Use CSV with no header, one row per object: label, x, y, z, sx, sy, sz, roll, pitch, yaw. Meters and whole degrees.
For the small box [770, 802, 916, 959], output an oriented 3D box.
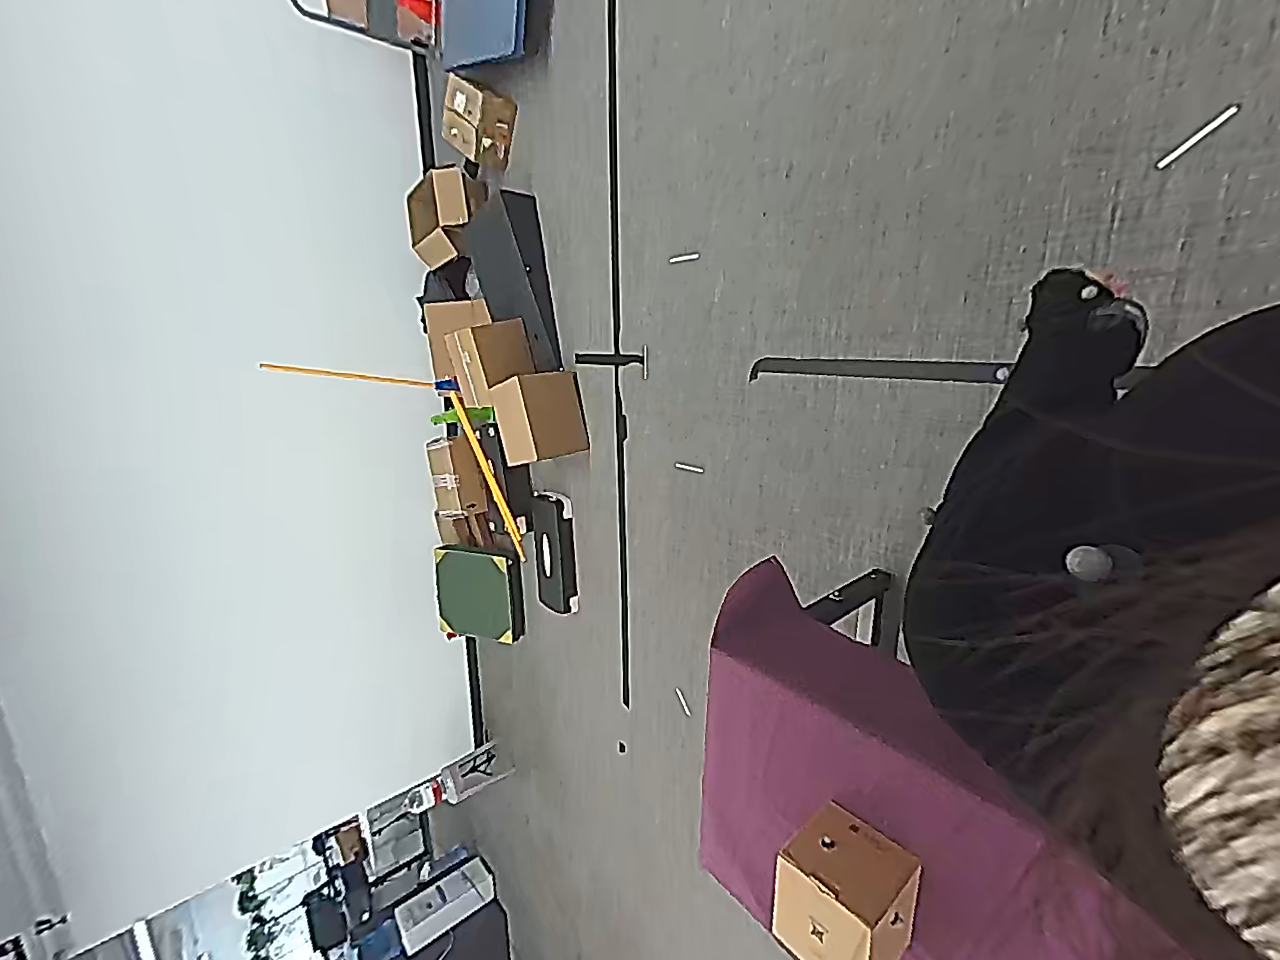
small box,0.341,0.693,0.909,0.168,0.176,0.179,16,112,48
